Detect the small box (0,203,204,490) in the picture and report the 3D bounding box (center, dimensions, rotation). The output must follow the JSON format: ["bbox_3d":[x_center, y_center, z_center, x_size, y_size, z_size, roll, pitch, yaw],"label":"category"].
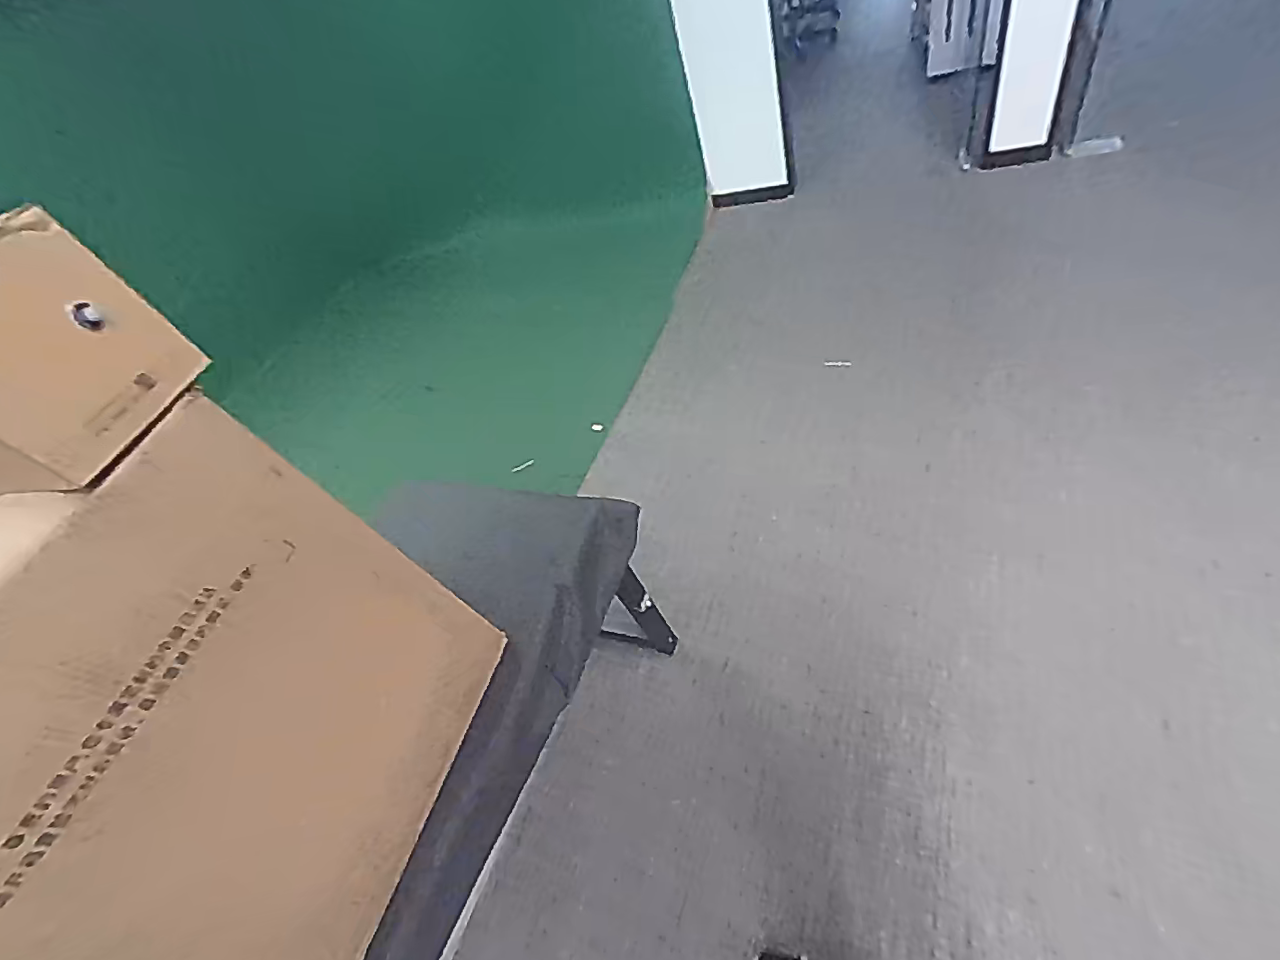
[{"bbox_3d":[-0.549,-0.104,0.473,0.179,0.176,0.168,-3,49,22],"label":"small box"}]
